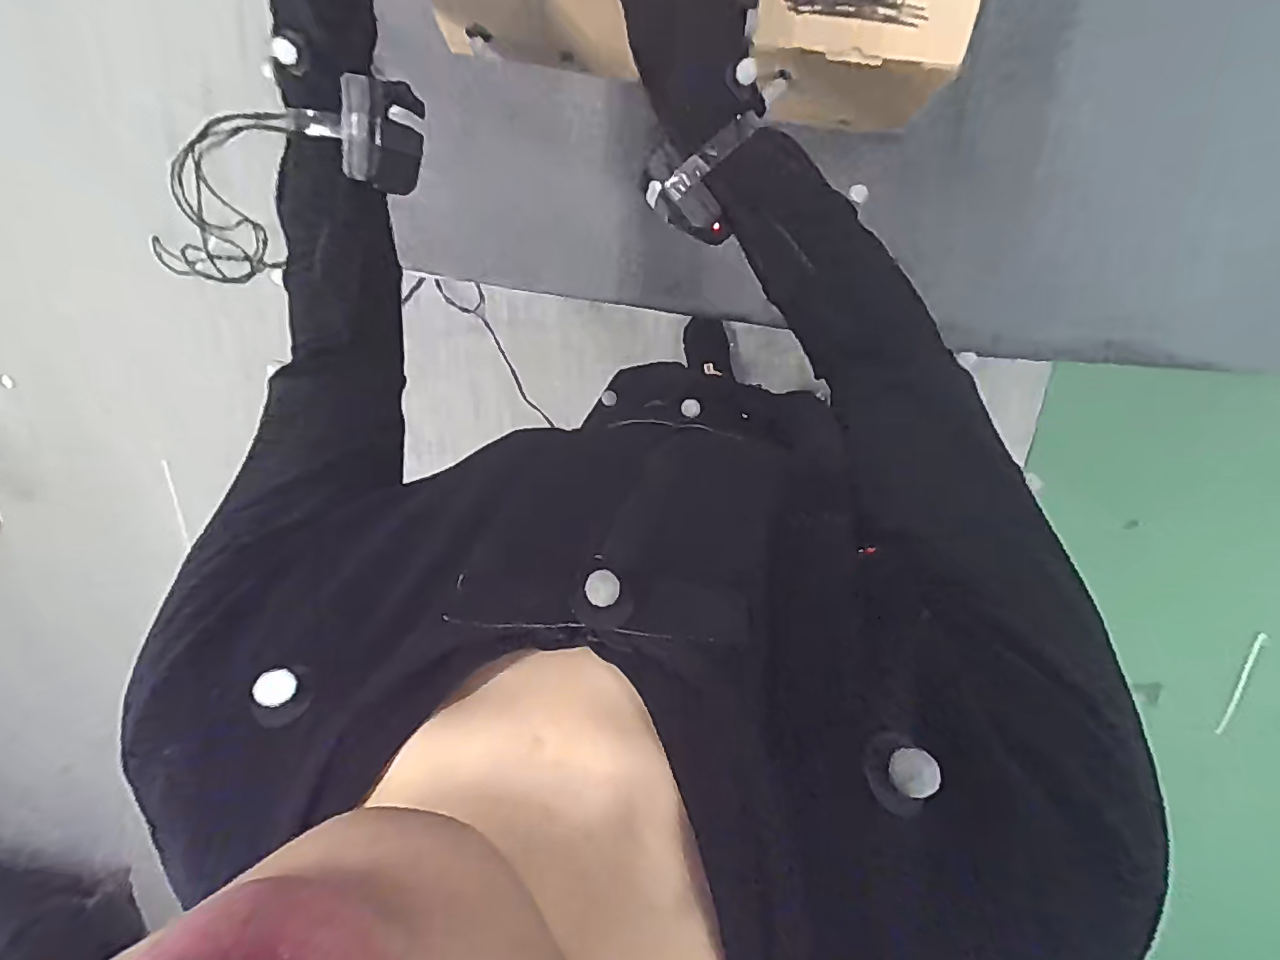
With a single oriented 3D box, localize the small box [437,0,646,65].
[{"bbox_3d":[-0.070,-0.437,0.375,0.168,0.176,0.179,7,96,-4],"label":"small box"}]
